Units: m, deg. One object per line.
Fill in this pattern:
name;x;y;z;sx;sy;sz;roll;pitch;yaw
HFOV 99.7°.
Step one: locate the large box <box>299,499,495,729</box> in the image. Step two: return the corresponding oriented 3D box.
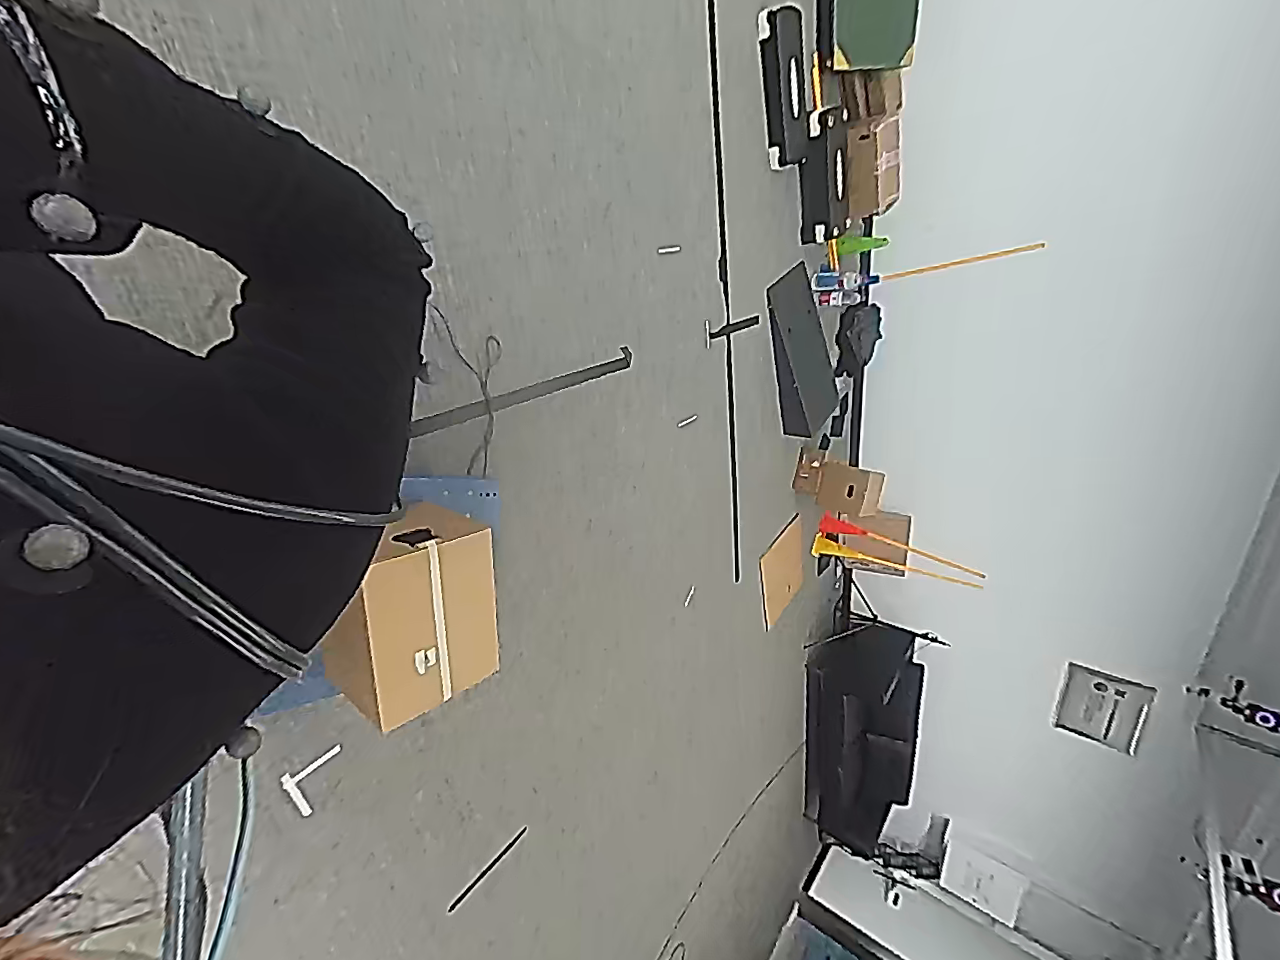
large box;-0.586;0.299;1.327;0.320;0.320;0.408;-17;114;-48
